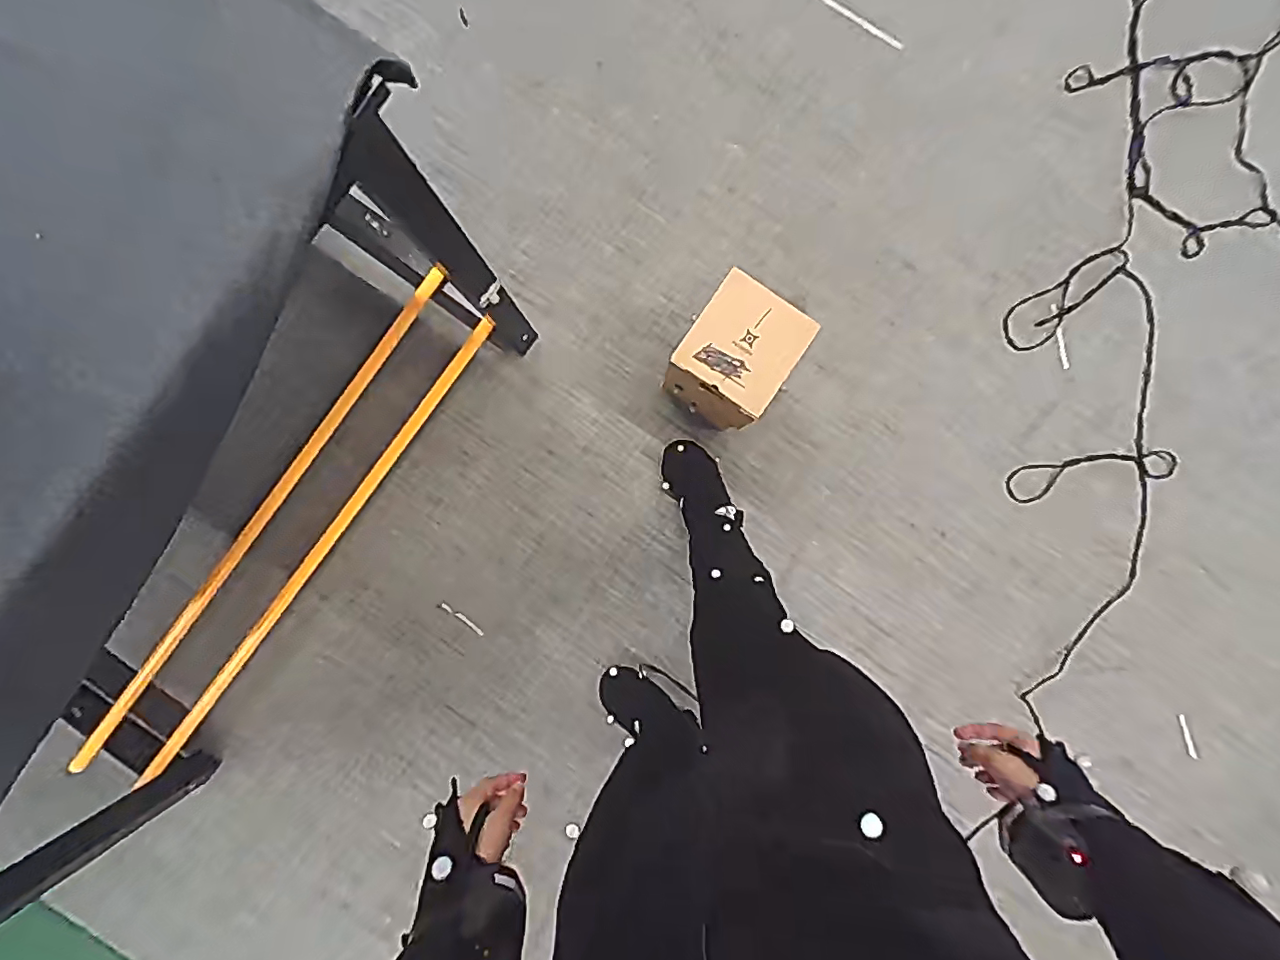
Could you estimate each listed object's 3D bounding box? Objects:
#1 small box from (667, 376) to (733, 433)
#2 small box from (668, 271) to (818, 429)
[{"bbox_3d":[0.164,-0.214,1.069,0.168,0.176,0.179,37,89,1],"label":"small box"},{"bbox_3d":[0.160,-0.203,0.905,0.168,0.176,0.179,35,89,0],"label":"small box"}]
